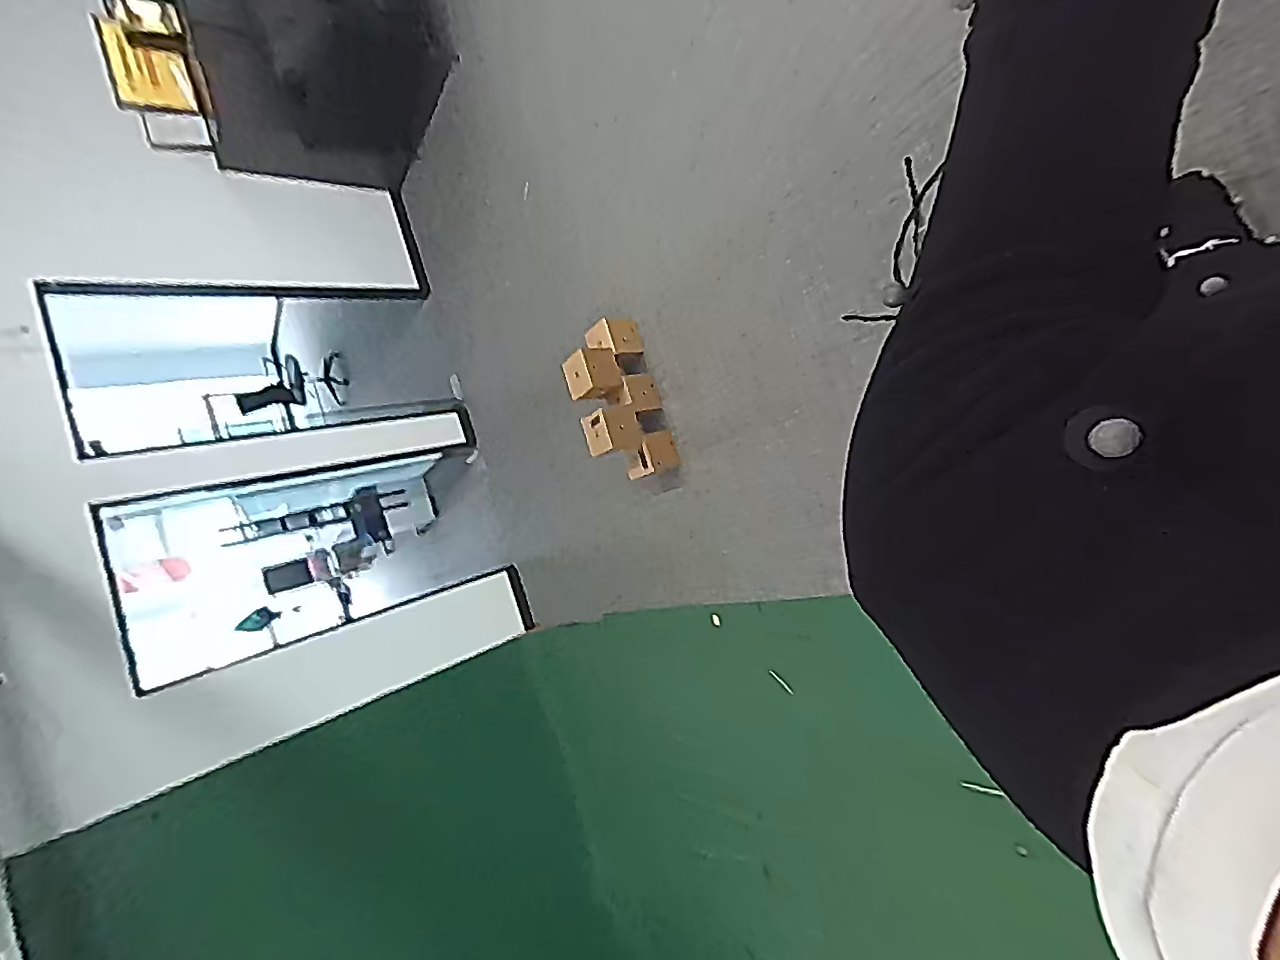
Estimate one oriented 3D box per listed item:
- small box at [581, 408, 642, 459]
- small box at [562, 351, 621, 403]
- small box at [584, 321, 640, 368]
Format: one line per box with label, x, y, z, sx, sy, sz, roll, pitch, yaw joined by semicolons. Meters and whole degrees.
small box;-0.120;-0.203;2.301;0.168;0.176;0.179;-19;87;51
small box;-0.204;-0.447;2.328;0.168;0.176;0.179;-25;80;50
small box;-0.119;-0.608;2.436;0.179;0.176;0.168;-22;84;51
